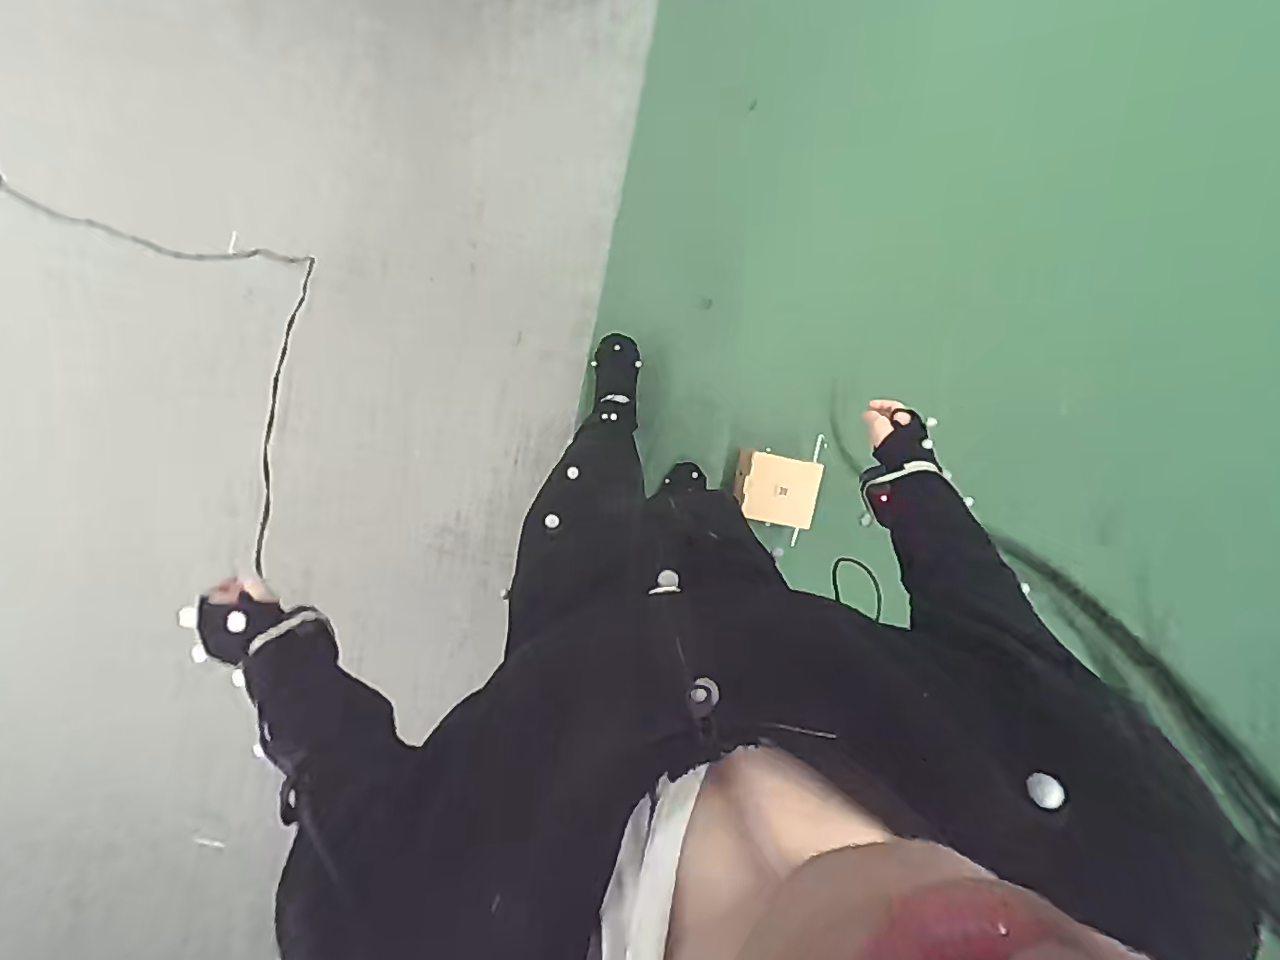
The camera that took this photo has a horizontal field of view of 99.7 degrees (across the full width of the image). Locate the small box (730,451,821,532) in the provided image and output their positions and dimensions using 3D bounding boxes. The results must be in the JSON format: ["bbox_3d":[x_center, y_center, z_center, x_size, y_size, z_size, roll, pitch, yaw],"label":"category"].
[{"bbox_3d":[0.342,0.022,1.395,0.179,0.176,0.168,11,97,0],"label":"small box"}]
